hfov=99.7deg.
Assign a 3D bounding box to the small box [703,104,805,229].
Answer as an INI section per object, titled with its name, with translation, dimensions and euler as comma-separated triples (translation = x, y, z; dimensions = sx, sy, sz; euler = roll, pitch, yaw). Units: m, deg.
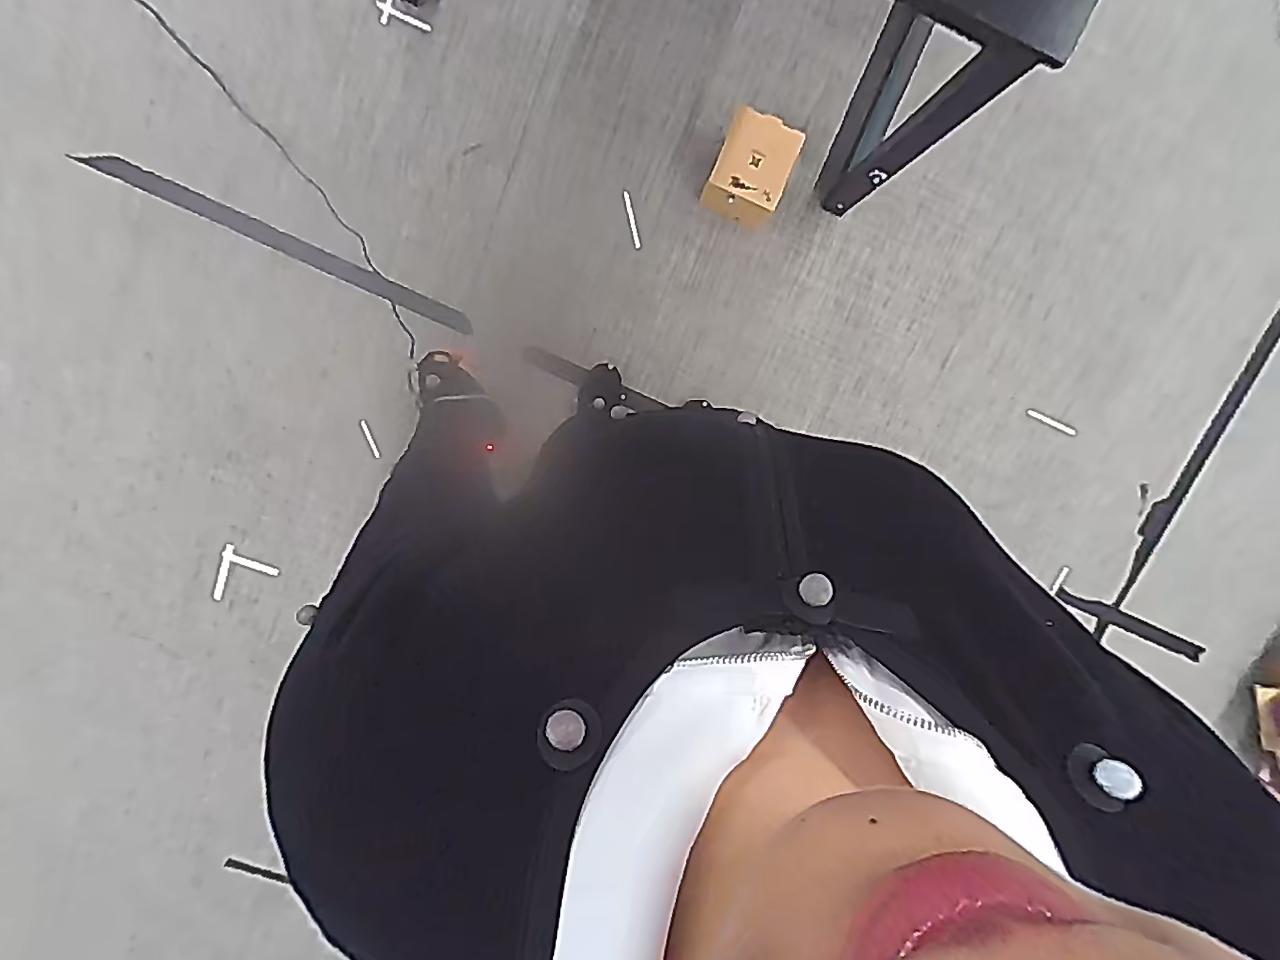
[small box]
translation = 0.259, -0.733, 1.286
dimensions = 0.168, 0.176, 0.179
euler = 22, 99, -4
